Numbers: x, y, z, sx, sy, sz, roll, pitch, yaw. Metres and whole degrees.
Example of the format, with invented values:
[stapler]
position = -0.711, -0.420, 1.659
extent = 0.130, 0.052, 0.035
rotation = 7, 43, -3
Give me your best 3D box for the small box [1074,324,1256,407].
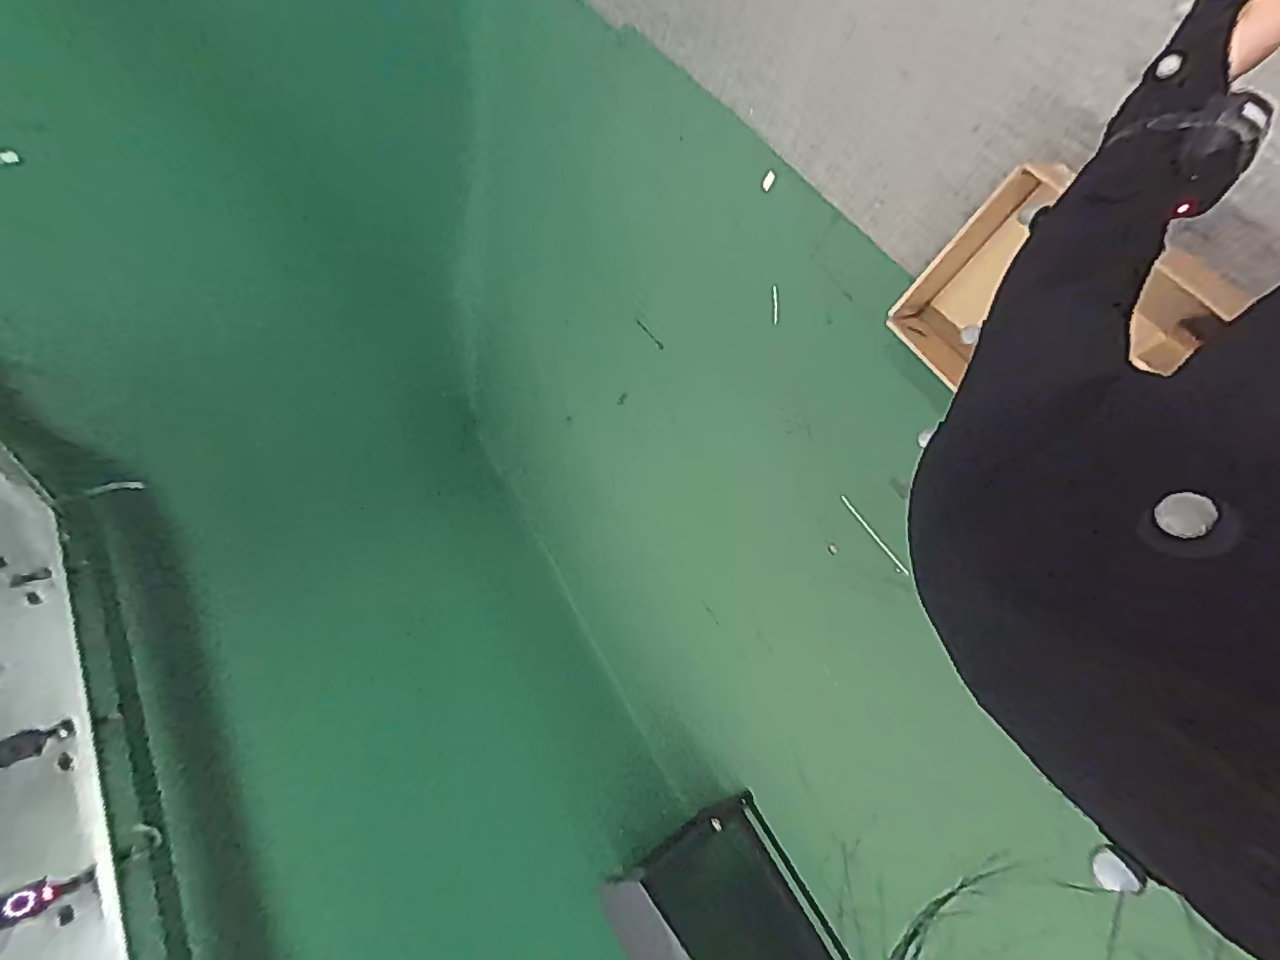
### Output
[small box]
position = 0.980, -0.169, 1.014
extent = 0.168, 0.176, 0.179
rotation = 54, 142, 23
